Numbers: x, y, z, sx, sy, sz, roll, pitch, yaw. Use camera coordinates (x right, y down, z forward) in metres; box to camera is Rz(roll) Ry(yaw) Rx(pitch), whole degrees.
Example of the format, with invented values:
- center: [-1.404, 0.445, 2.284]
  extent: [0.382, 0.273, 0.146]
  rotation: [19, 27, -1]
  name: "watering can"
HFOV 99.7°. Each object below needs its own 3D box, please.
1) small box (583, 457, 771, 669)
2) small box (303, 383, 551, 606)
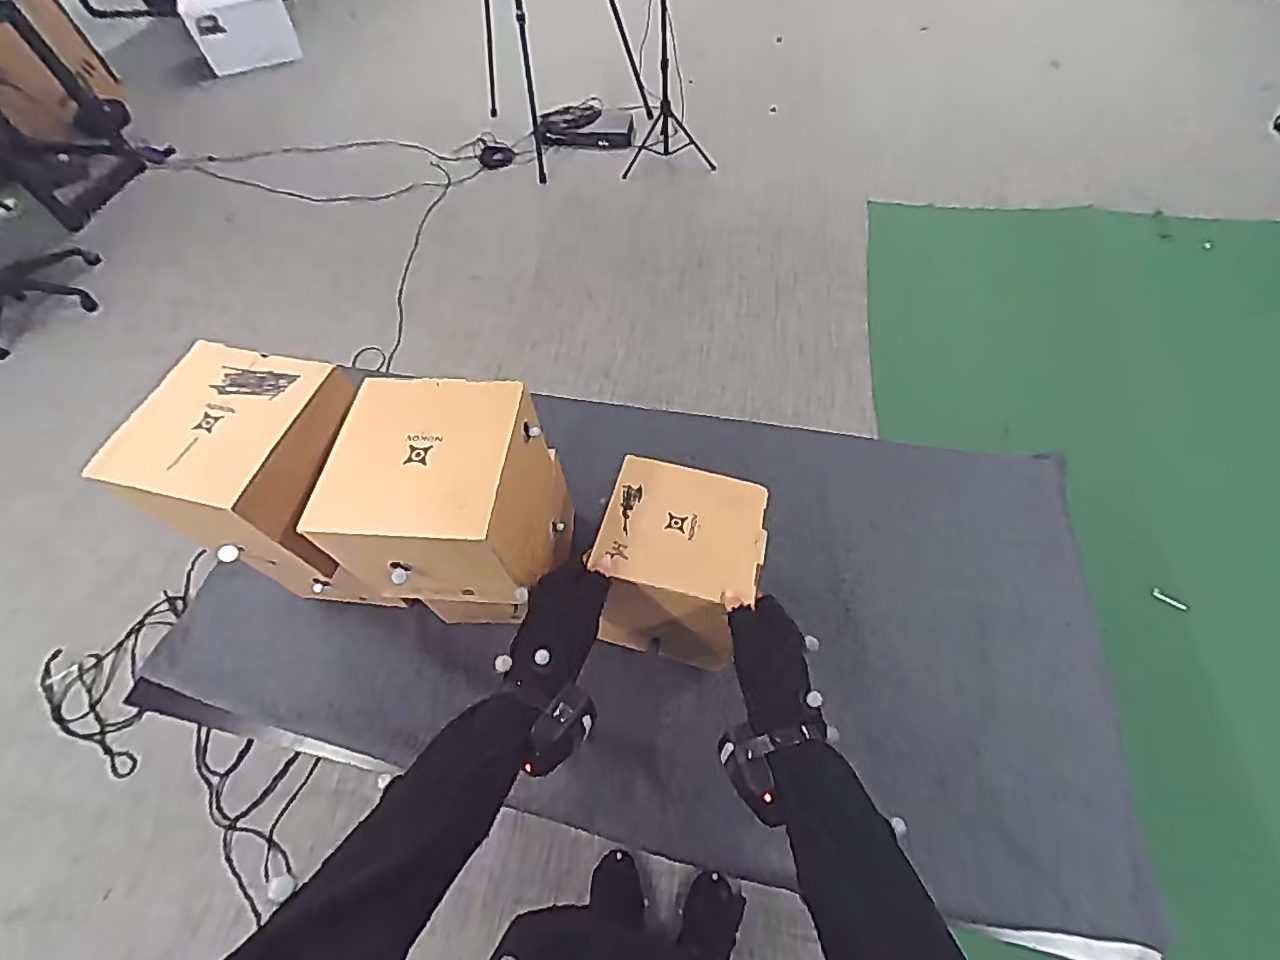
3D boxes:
- center: [0.040, 0.105, 0.647]
  extent: [0.179, 0.176, 0.168]
  rotation: [15, 49, 4]
  name: "small box"
- center: [-0.195, 0.021, 0.560]
  extent: [0.168, 0.176, 0.179]
  rotation: [2, 57, 4]
  name: "small box"
